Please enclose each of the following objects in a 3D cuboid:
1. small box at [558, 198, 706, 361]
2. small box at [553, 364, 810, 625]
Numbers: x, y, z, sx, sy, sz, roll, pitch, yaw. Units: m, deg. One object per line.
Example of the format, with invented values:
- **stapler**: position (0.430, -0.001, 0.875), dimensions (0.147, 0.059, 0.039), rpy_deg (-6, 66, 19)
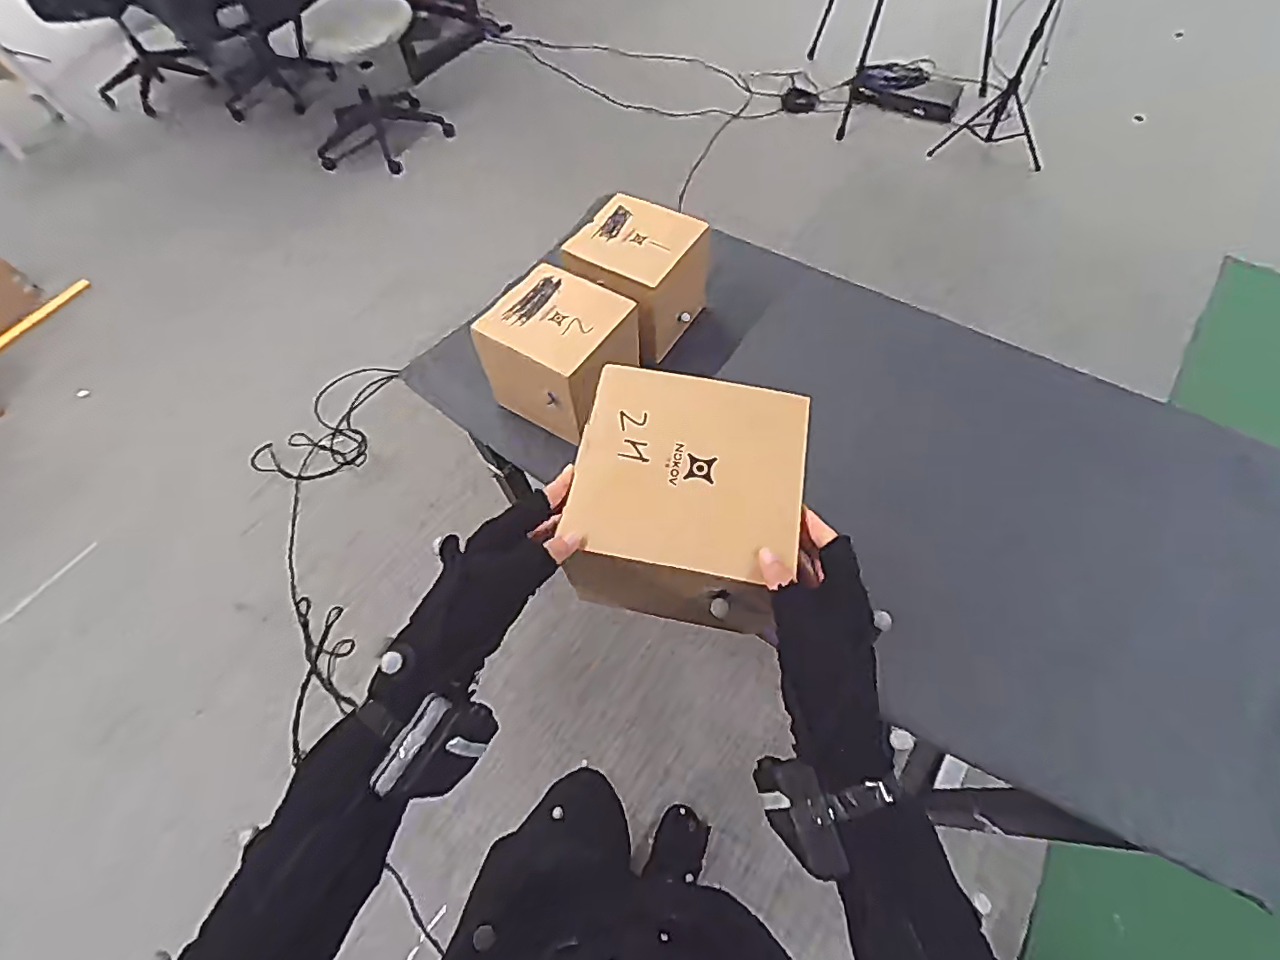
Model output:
- **small box**: position (-0.008, -0.329, 0.905), dimensions (0.179, 0.176, 0.168), rpy_deg (28, 66, 18)
- **small box**: position (0.038, 0.024, 0.489), dimensions (0.179, 0.176, 0.168), rpy_deg (11, 64, 6)
